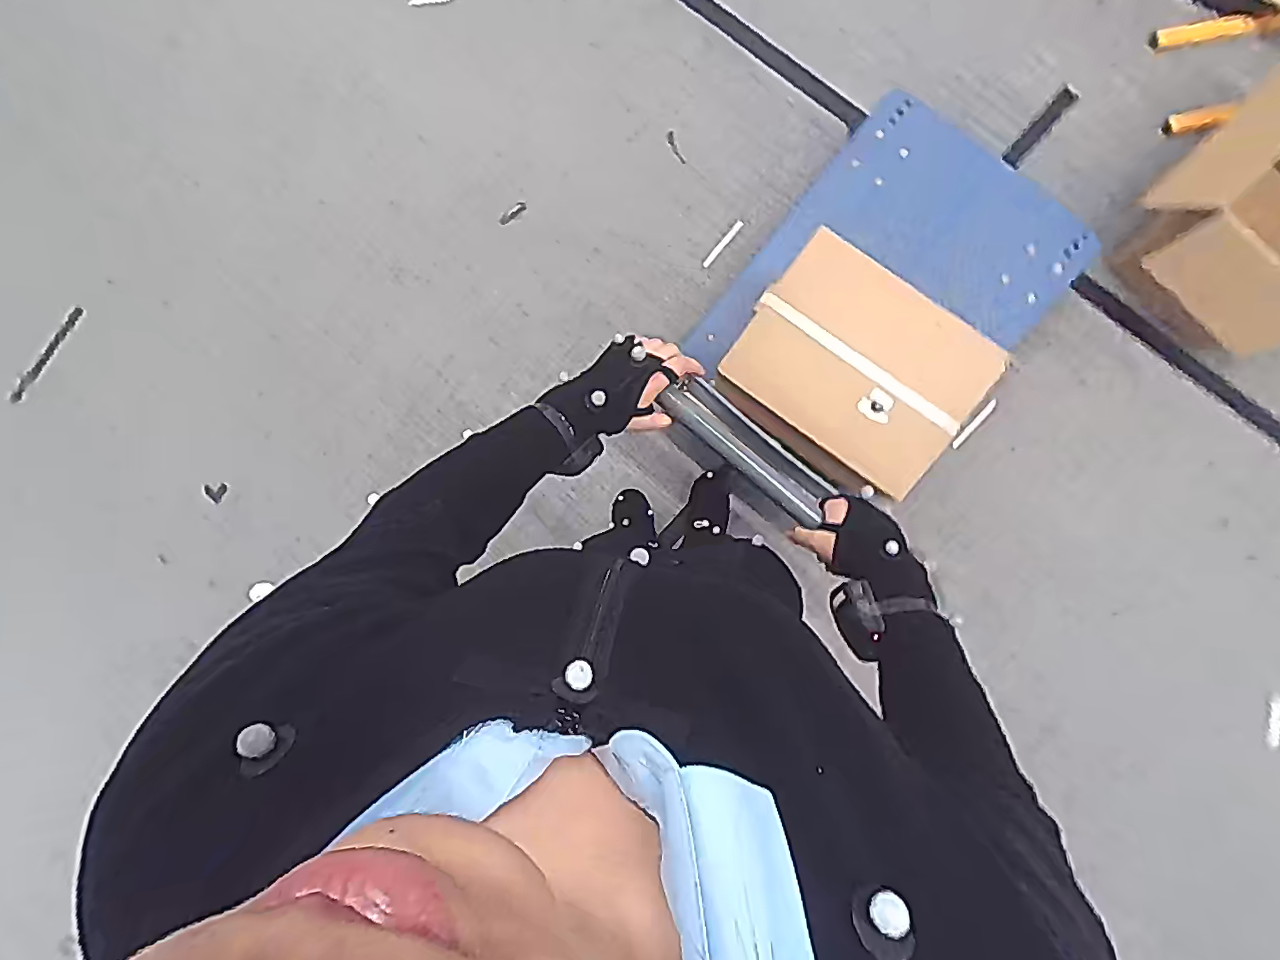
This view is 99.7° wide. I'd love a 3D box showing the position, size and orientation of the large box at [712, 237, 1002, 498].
[{"bbox_3d":[0.402,-0.208,1.118,0.408,0.320,0.320,37,96,3],"label":"large box"}]
